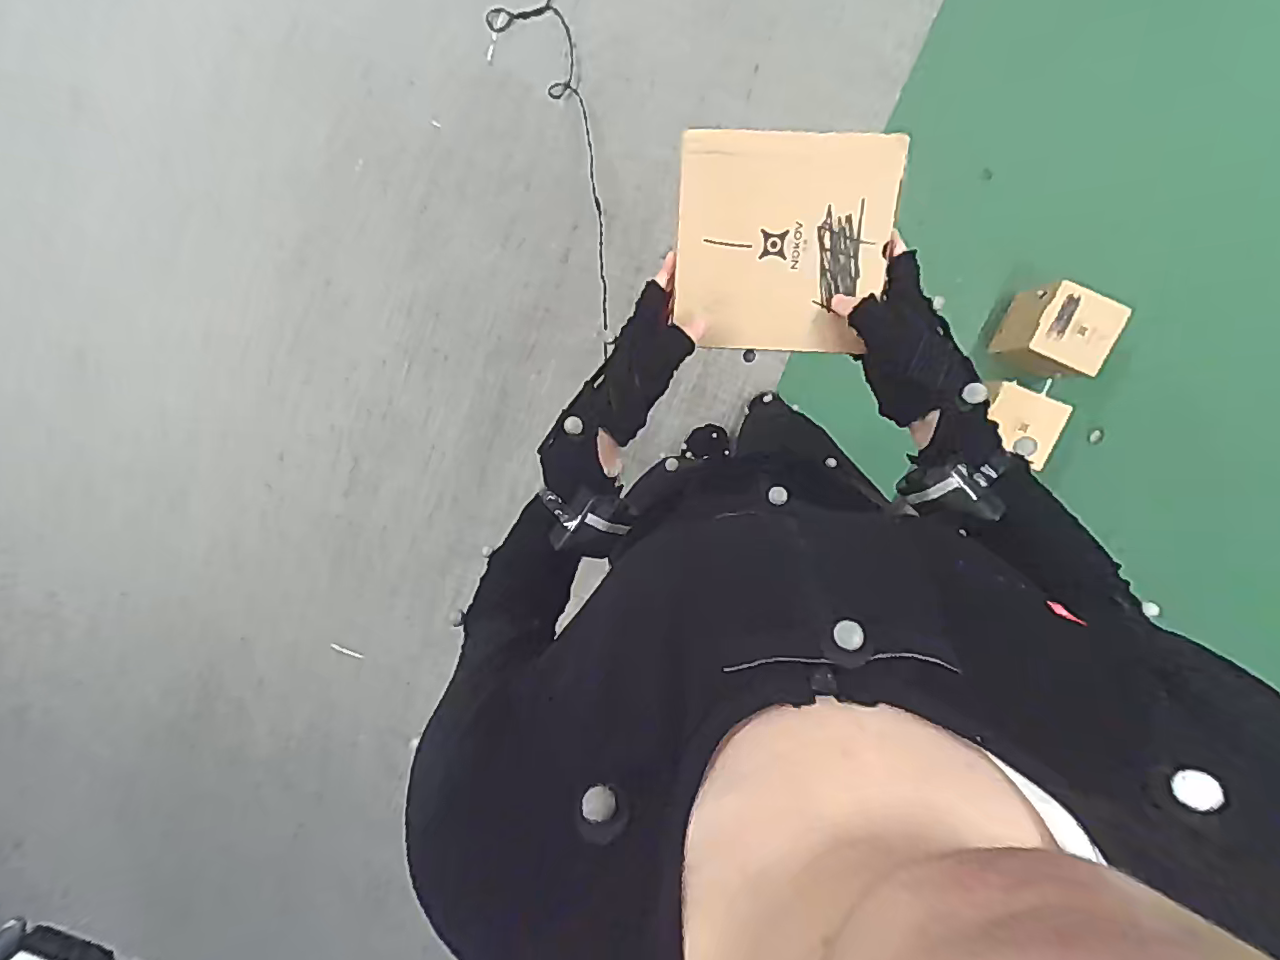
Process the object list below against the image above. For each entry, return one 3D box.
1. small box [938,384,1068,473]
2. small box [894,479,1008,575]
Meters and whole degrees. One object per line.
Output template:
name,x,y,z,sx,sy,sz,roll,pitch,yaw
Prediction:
small box,0.899,-0.135,1.356,0.179,0.176,0.168,21,100,0
small box,0.790,0.115,1.400,0.168,0.176,0.179,24,100,-1
